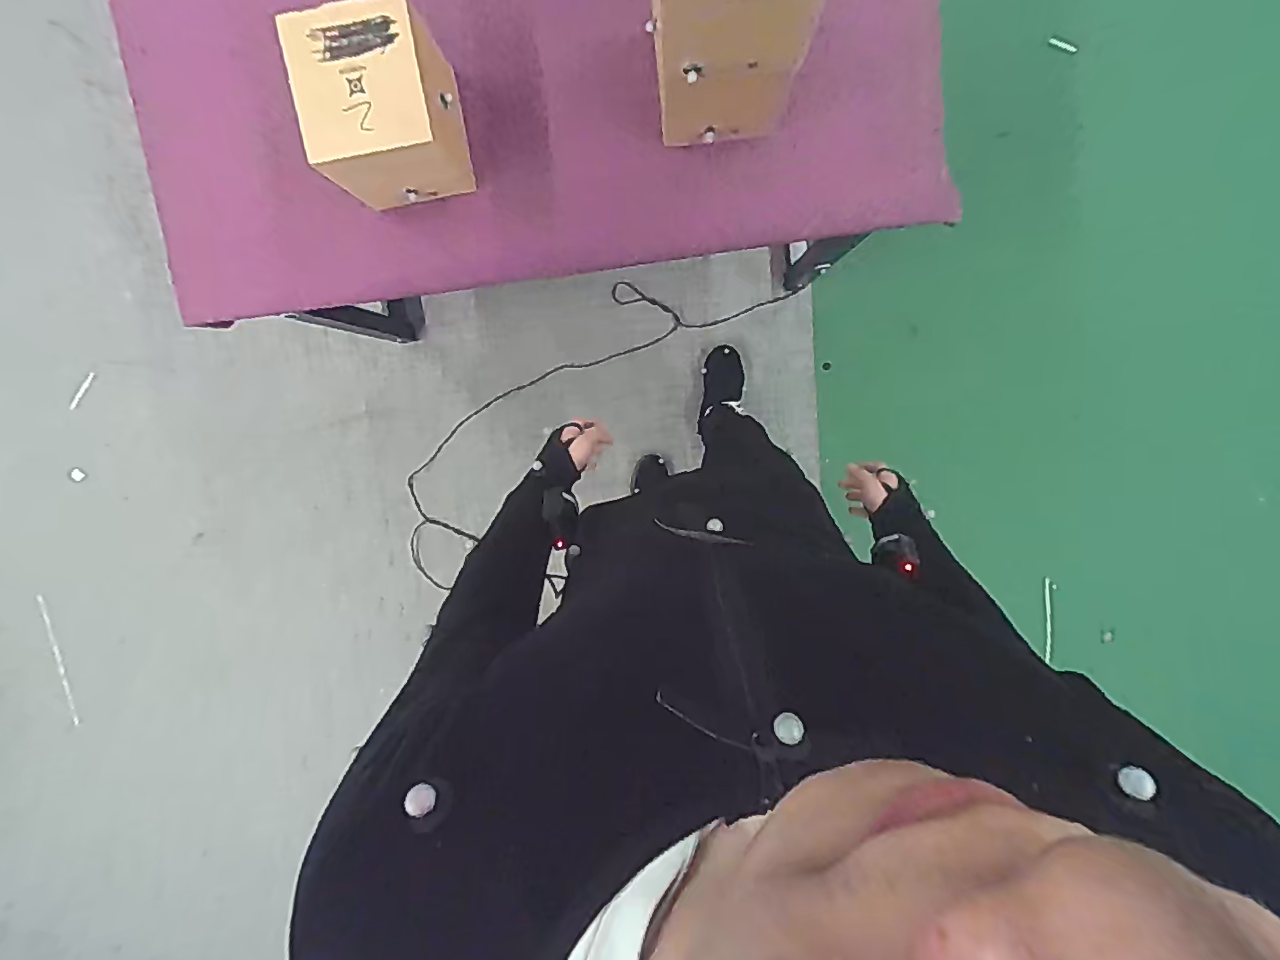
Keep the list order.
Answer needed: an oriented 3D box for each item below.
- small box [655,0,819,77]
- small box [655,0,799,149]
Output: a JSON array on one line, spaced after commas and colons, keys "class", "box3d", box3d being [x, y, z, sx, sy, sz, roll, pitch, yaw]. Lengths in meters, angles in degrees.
[{"class": "small box", "box3d": [0.095, -0.551, 0.553, 0.168, 0.176, 0.179, -5, 95, 5]}, {"class": "small box", "box3d": [0.105, -0.576, 0.714, 0.168, 0.176, 0.179, -5, 97, 5]}]
